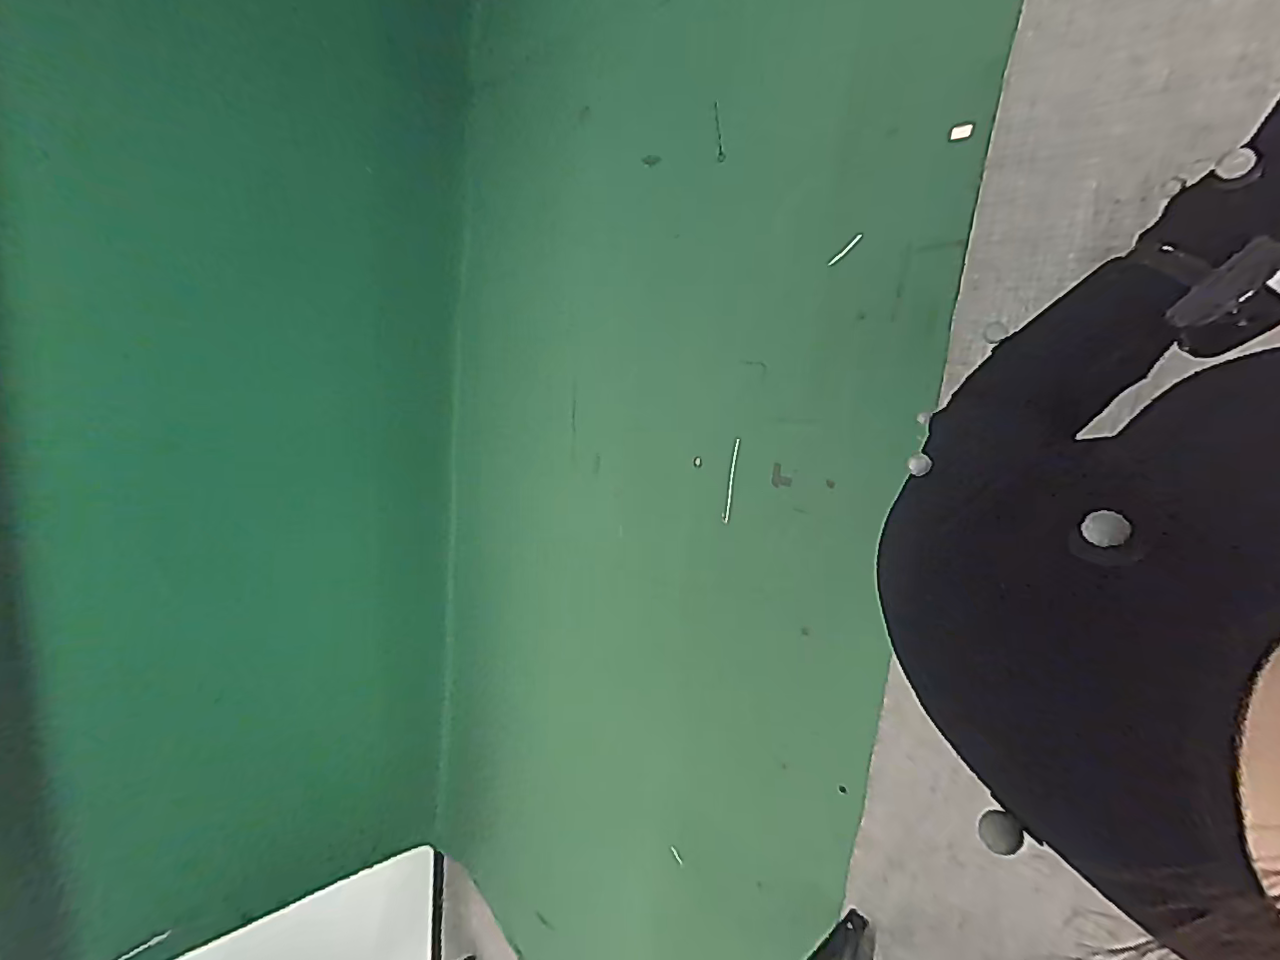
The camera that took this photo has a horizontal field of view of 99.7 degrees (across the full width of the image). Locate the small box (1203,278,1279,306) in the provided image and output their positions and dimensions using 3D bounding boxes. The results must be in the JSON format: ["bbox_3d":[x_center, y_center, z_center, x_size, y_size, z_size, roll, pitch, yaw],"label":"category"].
[{"bbox_3d":[1.129,-0.400,0.936,0.168,0.176,0.179,23,111,46],"label":"small box"}]

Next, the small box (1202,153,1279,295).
[{"bbox_3d":[1.007,-0.389,0.828,0.168,0.176,0.179,19,108,48],"label":"small box"}]
